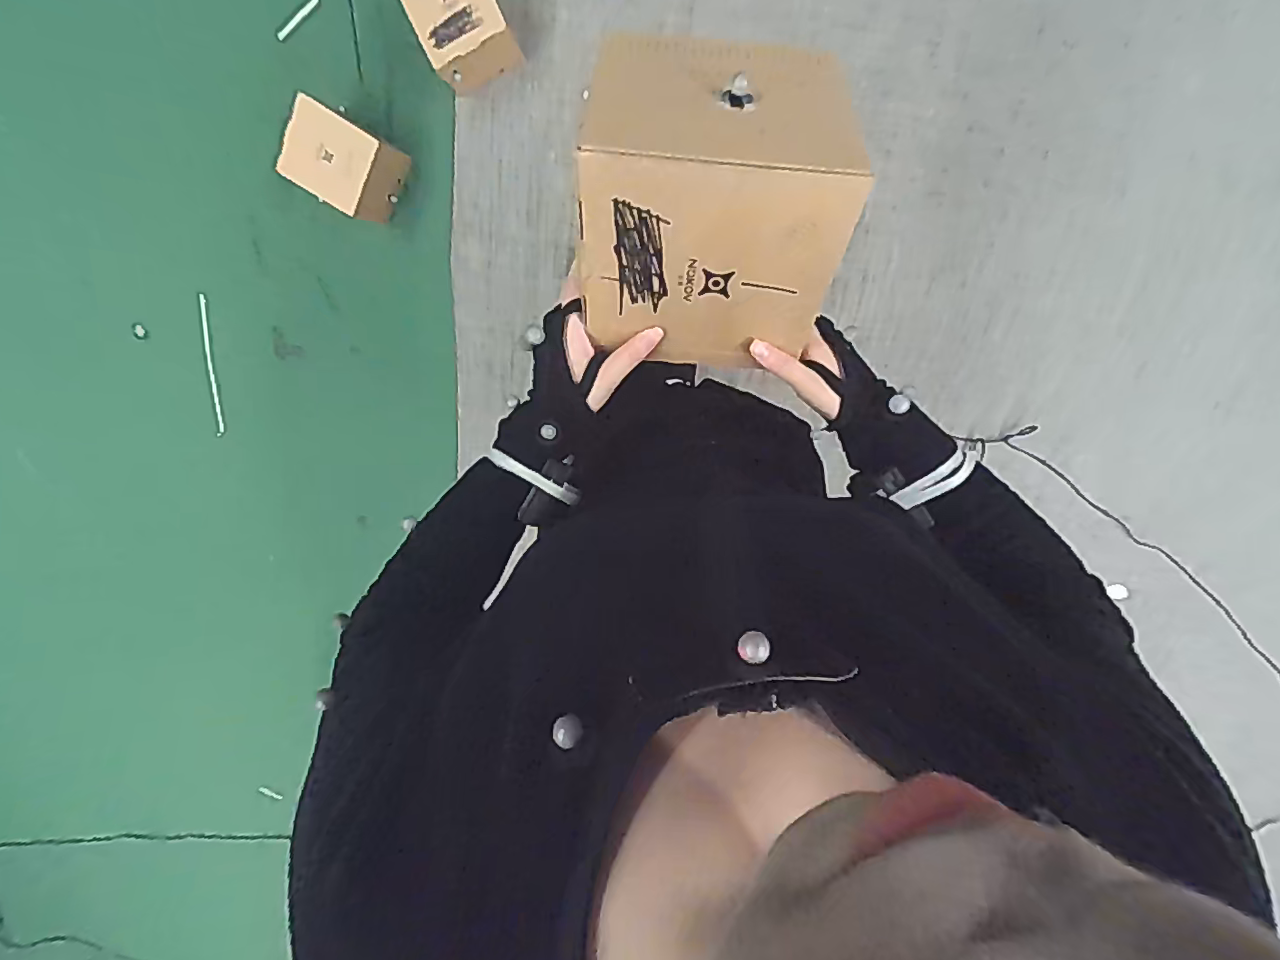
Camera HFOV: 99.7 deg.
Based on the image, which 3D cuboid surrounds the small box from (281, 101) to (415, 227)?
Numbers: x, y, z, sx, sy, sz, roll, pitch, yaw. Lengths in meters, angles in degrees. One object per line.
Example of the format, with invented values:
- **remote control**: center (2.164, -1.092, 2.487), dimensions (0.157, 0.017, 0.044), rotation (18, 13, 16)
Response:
- **small box**: center (-0.638, -0.685, 1.201), dimensions (0.179, 0.176, 0.168), rotation (30, 108, -9)

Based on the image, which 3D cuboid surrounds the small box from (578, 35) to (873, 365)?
- **small box**: center (0.051, -0.215, 0.424), dimensions (0.179, 0.176, 0.168), rotation (4, 147, -1)
